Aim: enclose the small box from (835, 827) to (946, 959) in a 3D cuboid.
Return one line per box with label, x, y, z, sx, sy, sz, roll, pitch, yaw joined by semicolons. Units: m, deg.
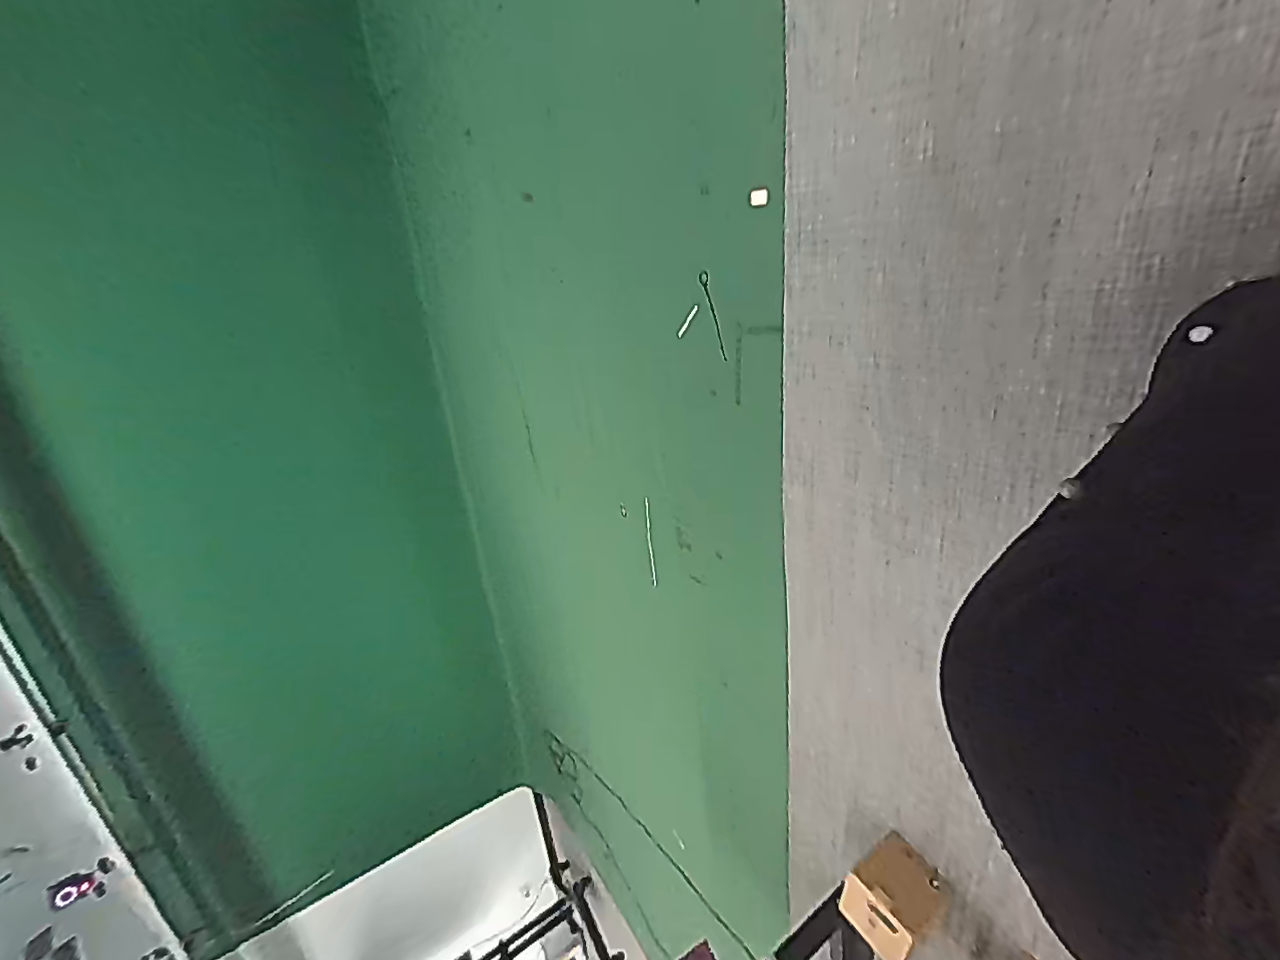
small box;0.604;0.990;1.301;0.168;0.176;0.179;34;134;48
